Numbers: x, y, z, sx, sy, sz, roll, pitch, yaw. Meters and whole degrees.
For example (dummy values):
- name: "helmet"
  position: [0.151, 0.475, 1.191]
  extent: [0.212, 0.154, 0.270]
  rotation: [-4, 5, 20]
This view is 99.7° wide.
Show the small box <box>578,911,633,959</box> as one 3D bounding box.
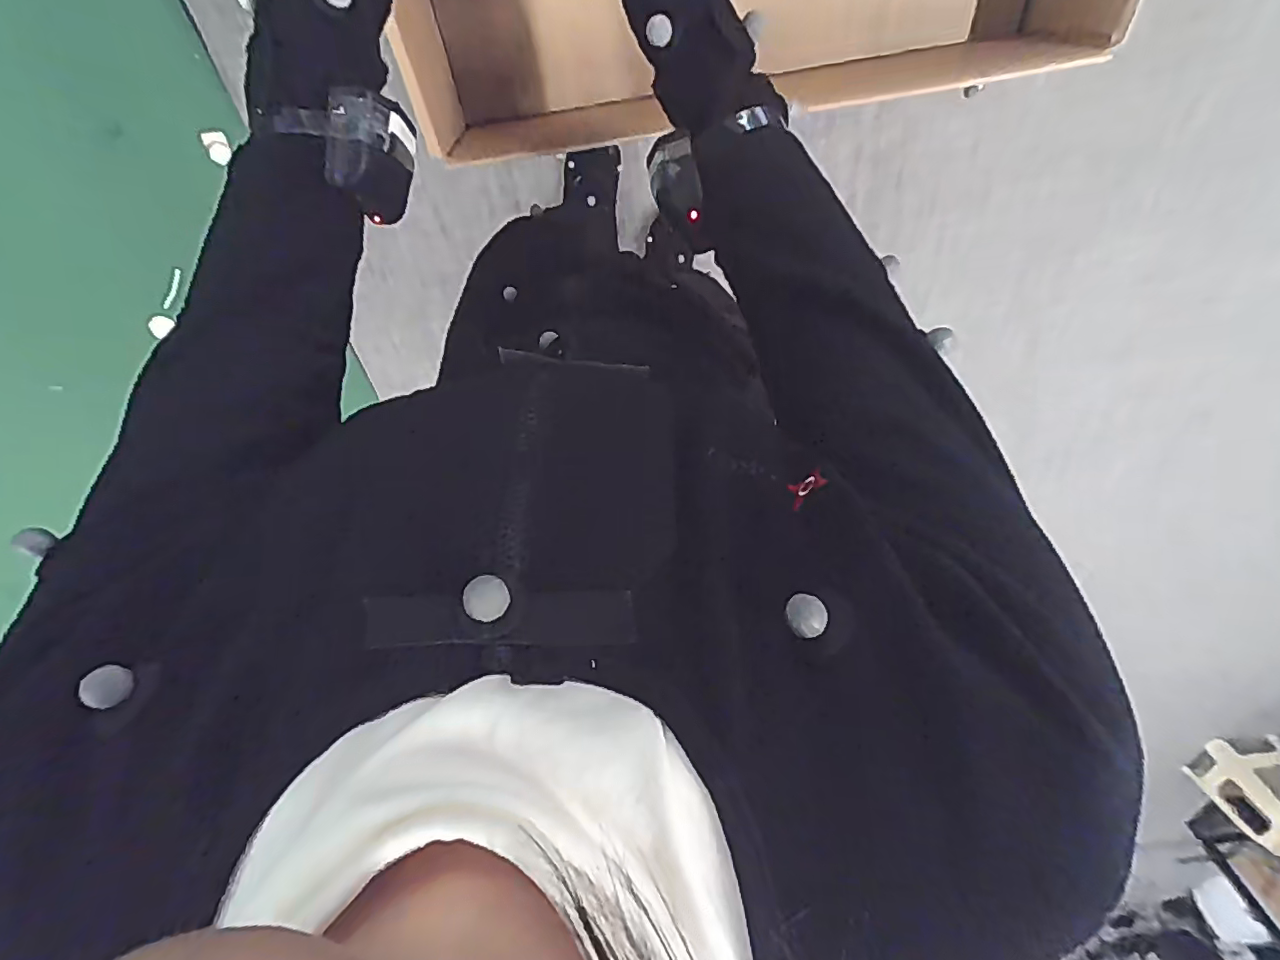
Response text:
- name: "small box"
  position: [-0.116, 1.640, 1.890]
  extent: [0.168, 0.176, 0.179]
  rotation: [-10, 127, 3]
